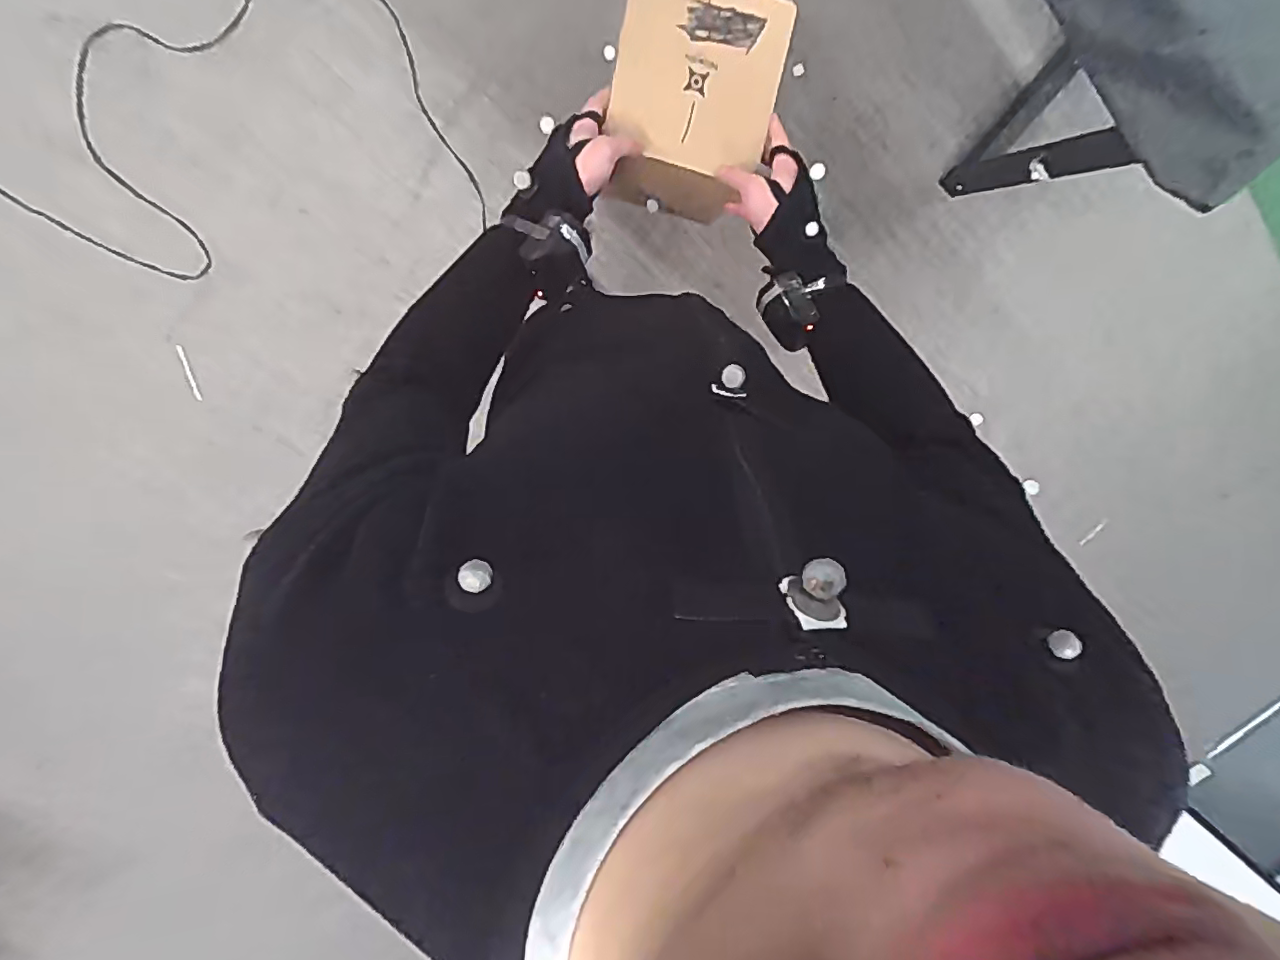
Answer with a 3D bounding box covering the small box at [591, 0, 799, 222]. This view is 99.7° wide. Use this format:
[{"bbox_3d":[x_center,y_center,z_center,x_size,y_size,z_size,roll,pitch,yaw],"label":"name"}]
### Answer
[{"bbox_3d":[0.044,-0.412,0.595,0.168,0.176,0.179,11,101,-11],"label":"small box"}]
